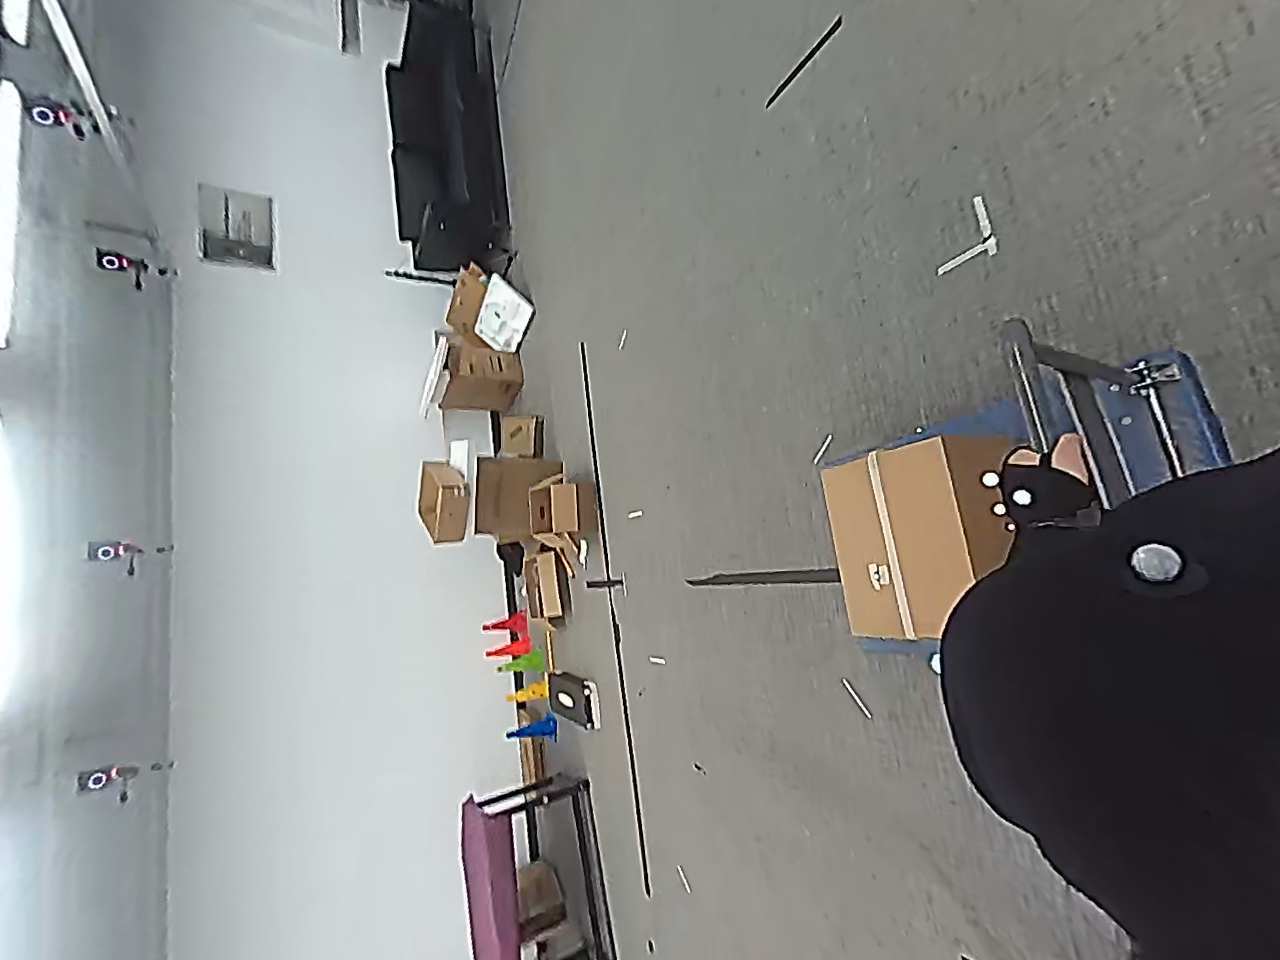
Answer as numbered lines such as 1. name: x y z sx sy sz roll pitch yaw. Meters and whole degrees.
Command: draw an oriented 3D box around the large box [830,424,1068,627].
1. large box: 0.701 0.108 1.249 0.320 0.320 0.408 -24 72 58
